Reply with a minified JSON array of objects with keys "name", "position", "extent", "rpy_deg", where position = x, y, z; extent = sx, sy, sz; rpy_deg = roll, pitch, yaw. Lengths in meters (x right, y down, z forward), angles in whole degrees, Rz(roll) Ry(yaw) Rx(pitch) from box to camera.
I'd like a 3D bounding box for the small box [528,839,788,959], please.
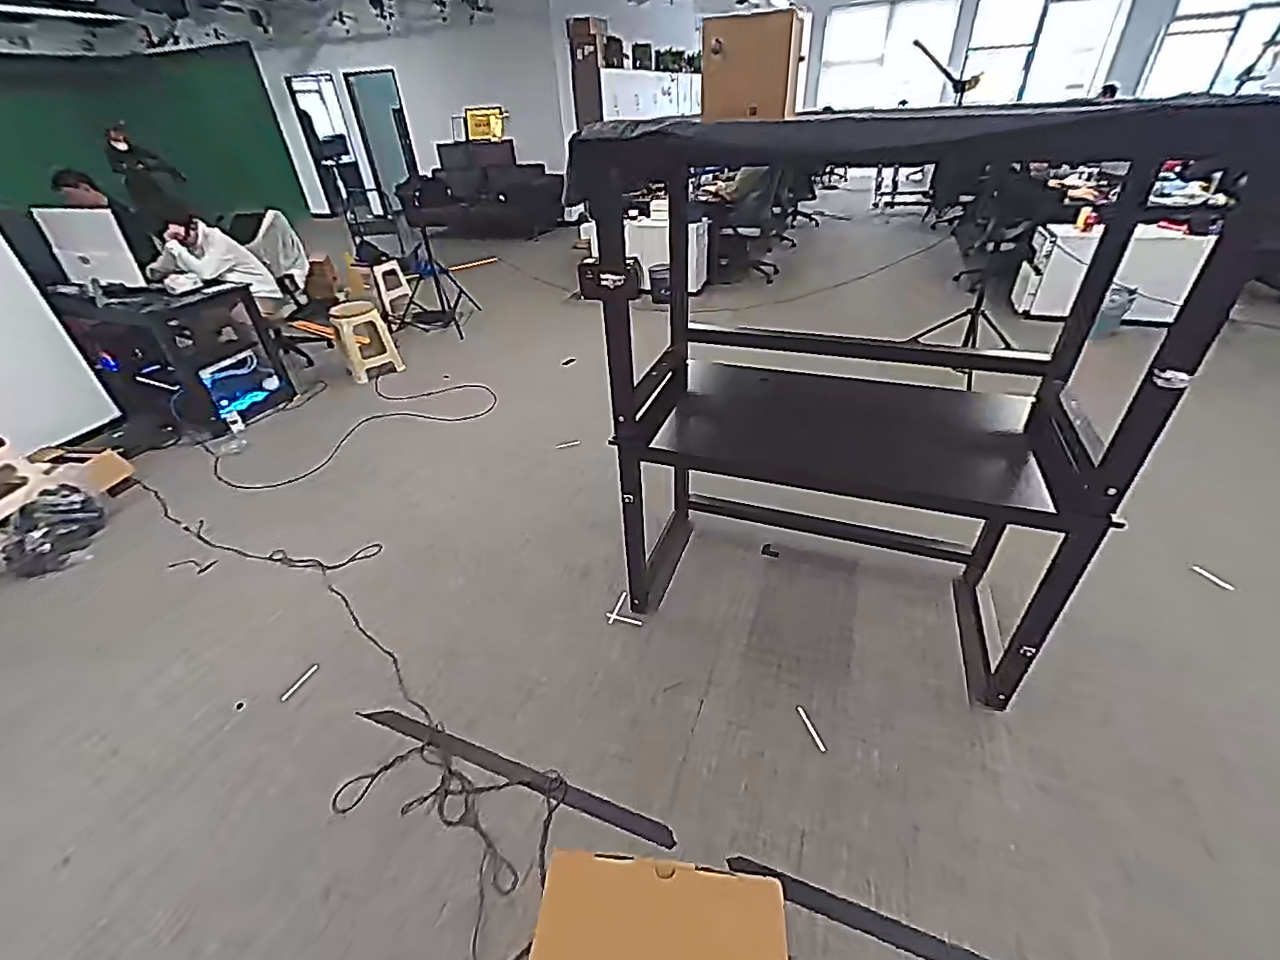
[{"name":"small box","position":[0.008,0.383,0.361],"extent":[0.168,0.176,0.179],"rpy_deg":[4,33,5]}]
